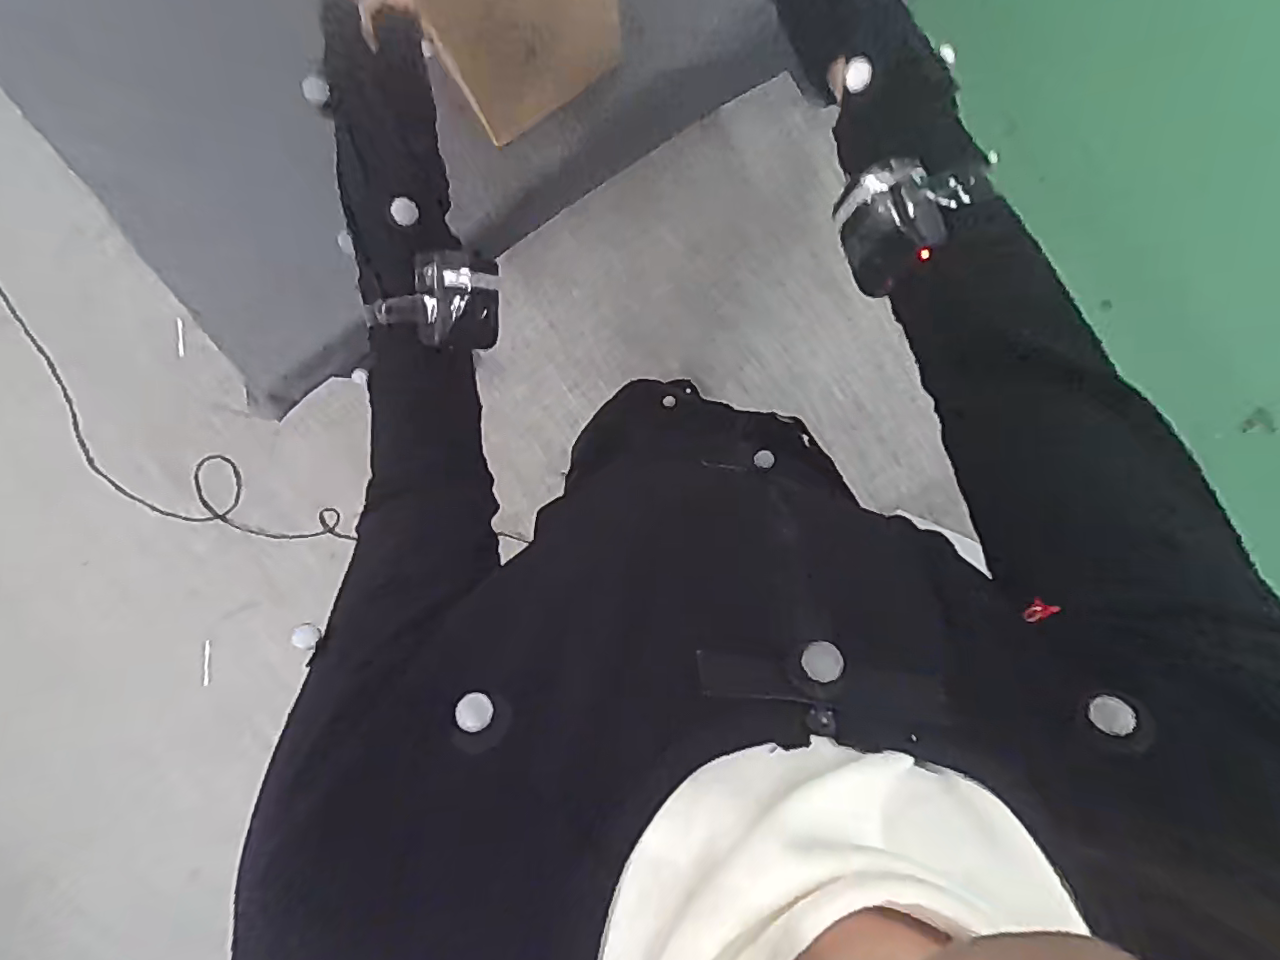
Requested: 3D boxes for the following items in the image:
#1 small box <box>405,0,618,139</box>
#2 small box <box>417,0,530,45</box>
[{"bbox_3d":[-0.138,-0.491,0.540,0.179,0.176,0.168,-32,95,6],"label":"small box"},{"bbox_3d":[-0.144,-0.474,0.376,0.168,0.176,0.179,-32,94,5],"label":"small box"}]
